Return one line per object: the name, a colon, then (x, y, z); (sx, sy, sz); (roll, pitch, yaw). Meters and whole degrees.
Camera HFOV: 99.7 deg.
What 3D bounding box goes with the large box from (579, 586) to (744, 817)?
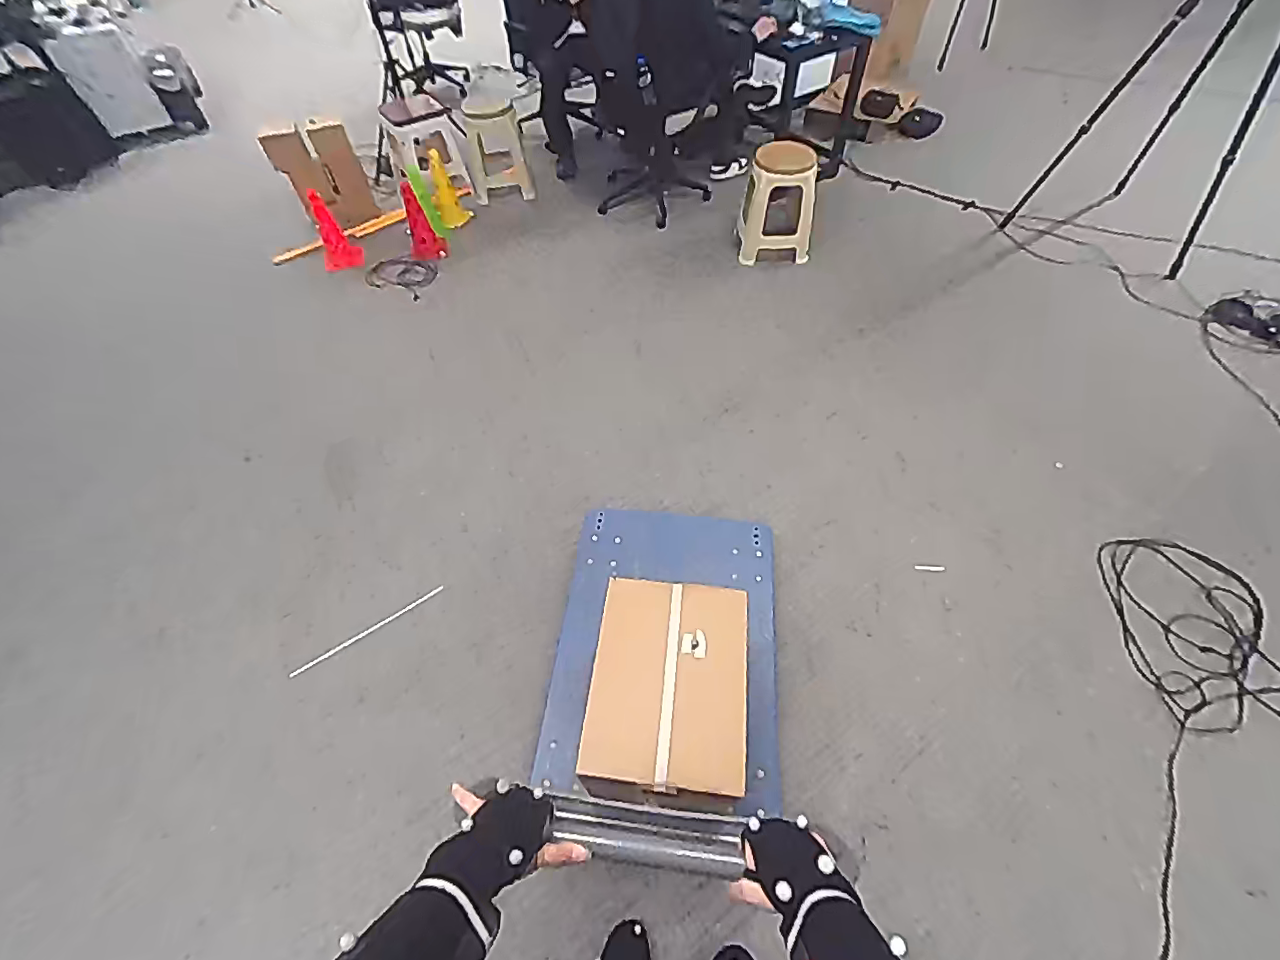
large box: (0.061, 0.503, 1.231); (0.320, 0.320, 0.408); (6, 52, 5)
